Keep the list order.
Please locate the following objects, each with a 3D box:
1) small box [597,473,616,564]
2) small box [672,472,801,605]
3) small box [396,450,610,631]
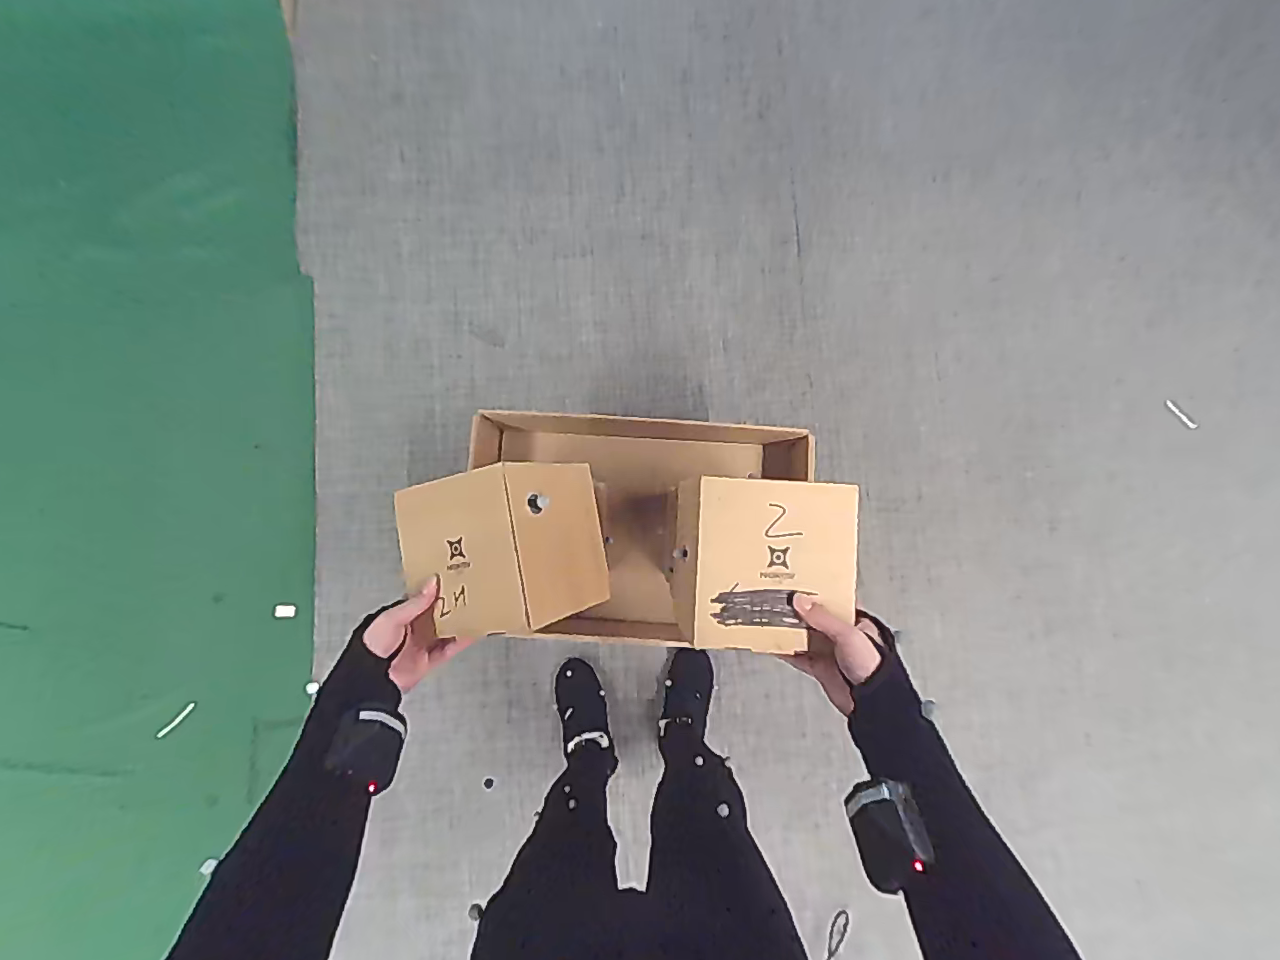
[{"bbox_3d":[-0.139,0.077,0.992,0.179,0.176,0.168,0,85,1],"label":"small box"},{"bbox_3d":[0.137,0.086,0.823,0.168,0.176,0.179,3,85,0],"label":"small box"},{"bbox_3d":[-0.154,0.067,0.640,0.168,0.176,0.179,-12,86,27],"label":"small box"}]
